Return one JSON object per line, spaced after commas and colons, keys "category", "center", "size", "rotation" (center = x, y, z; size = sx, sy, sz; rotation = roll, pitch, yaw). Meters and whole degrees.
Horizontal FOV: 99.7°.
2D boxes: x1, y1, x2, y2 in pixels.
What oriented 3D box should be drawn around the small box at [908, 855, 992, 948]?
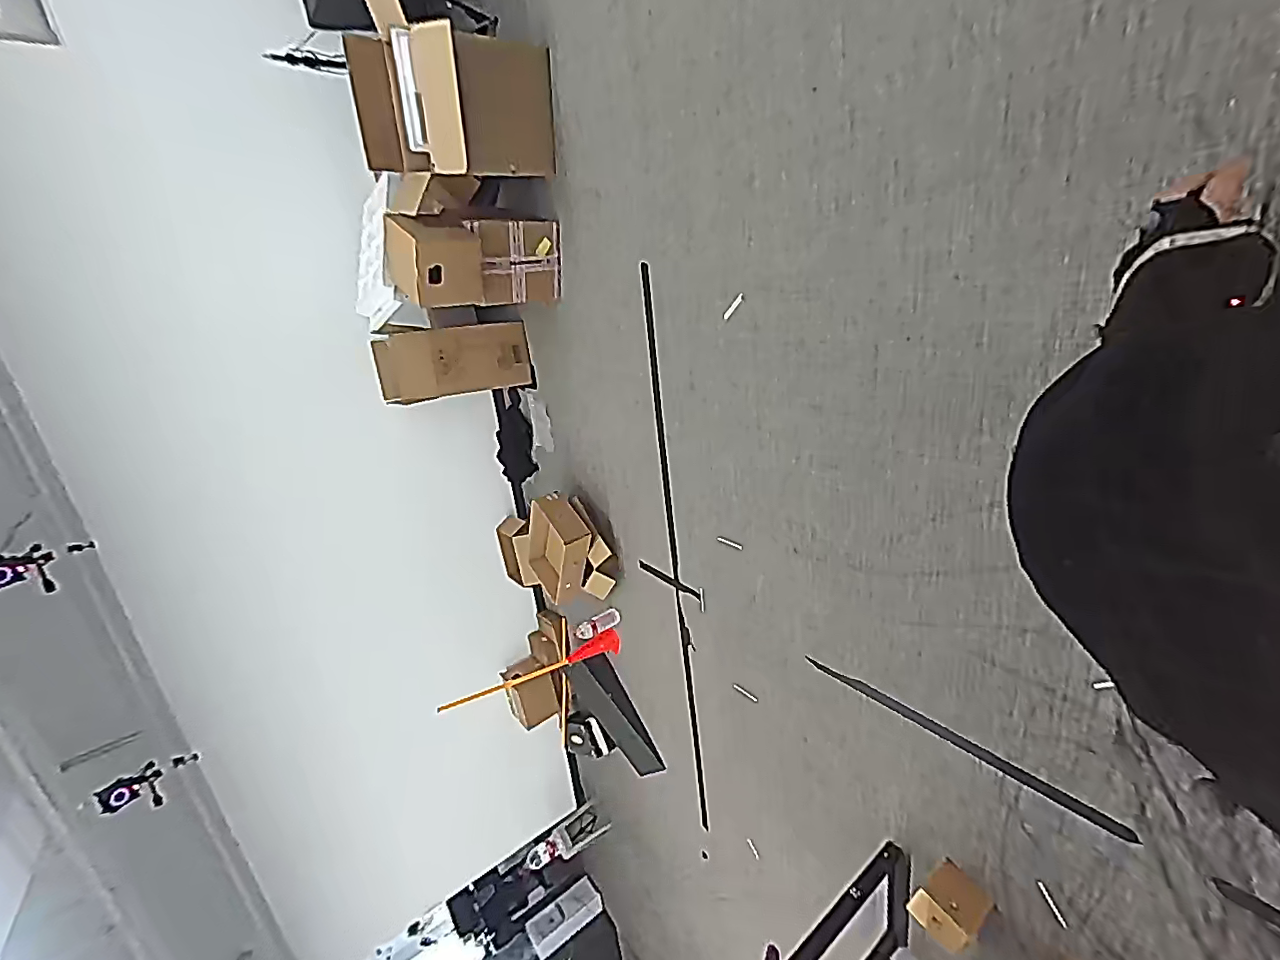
{"category": "small box", "center": [1.087, 1.466, 1.897], "size": [0.179, 0.176, 0.168], "rotation": [36, 134, 40]}
